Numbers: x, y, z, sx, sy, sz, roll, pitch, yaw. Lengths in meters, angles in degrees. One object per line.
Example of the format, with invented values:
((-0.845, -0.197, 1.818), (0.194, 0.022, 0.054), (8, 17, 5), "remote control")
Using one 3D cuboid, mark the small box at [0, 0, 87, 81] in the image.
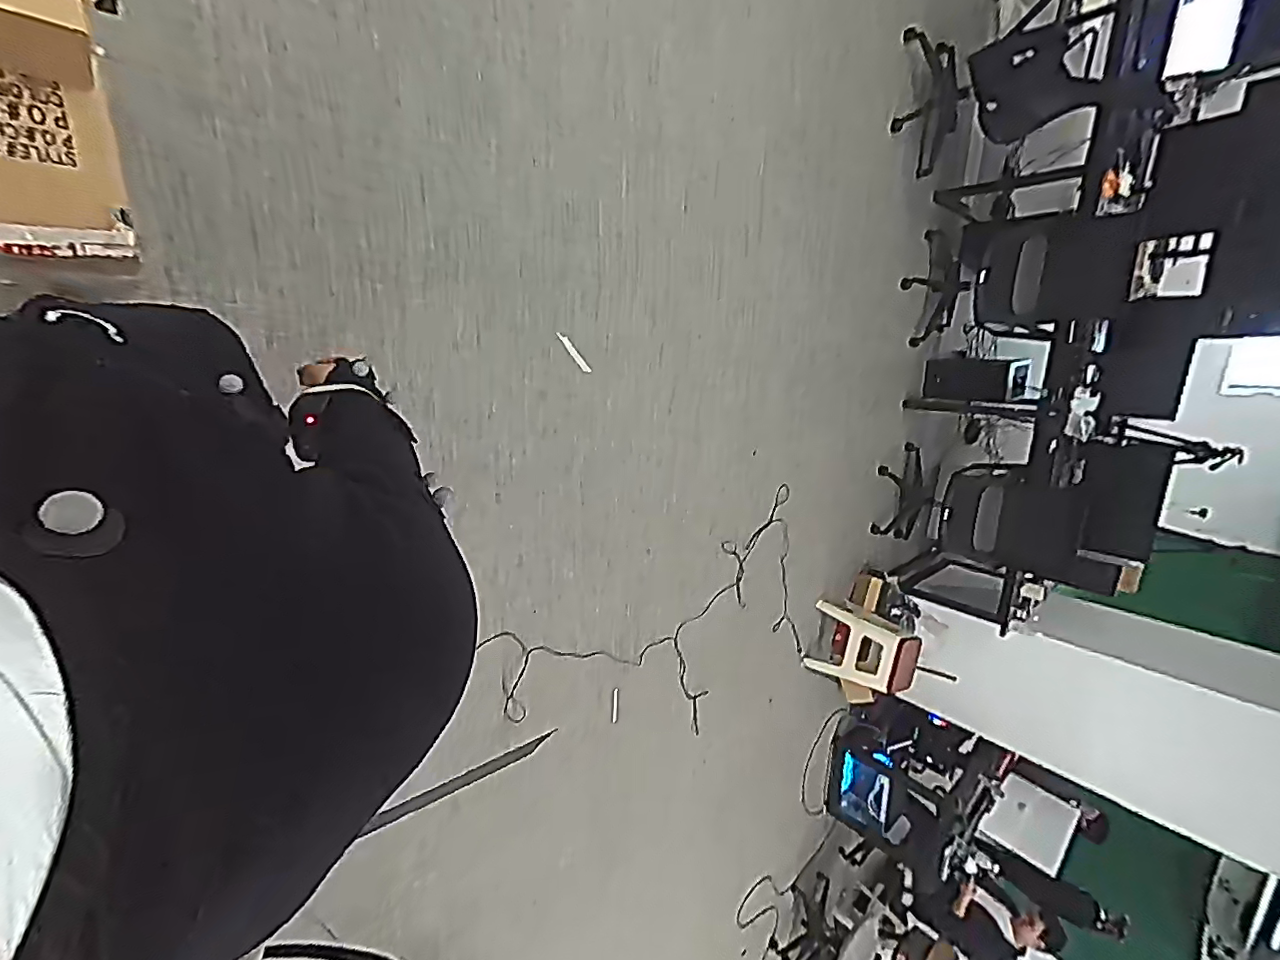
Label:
((-0.619, -0.484, 0.470), (0.179, 0.176, 0.168), (-11, 109, -42), "small box")
